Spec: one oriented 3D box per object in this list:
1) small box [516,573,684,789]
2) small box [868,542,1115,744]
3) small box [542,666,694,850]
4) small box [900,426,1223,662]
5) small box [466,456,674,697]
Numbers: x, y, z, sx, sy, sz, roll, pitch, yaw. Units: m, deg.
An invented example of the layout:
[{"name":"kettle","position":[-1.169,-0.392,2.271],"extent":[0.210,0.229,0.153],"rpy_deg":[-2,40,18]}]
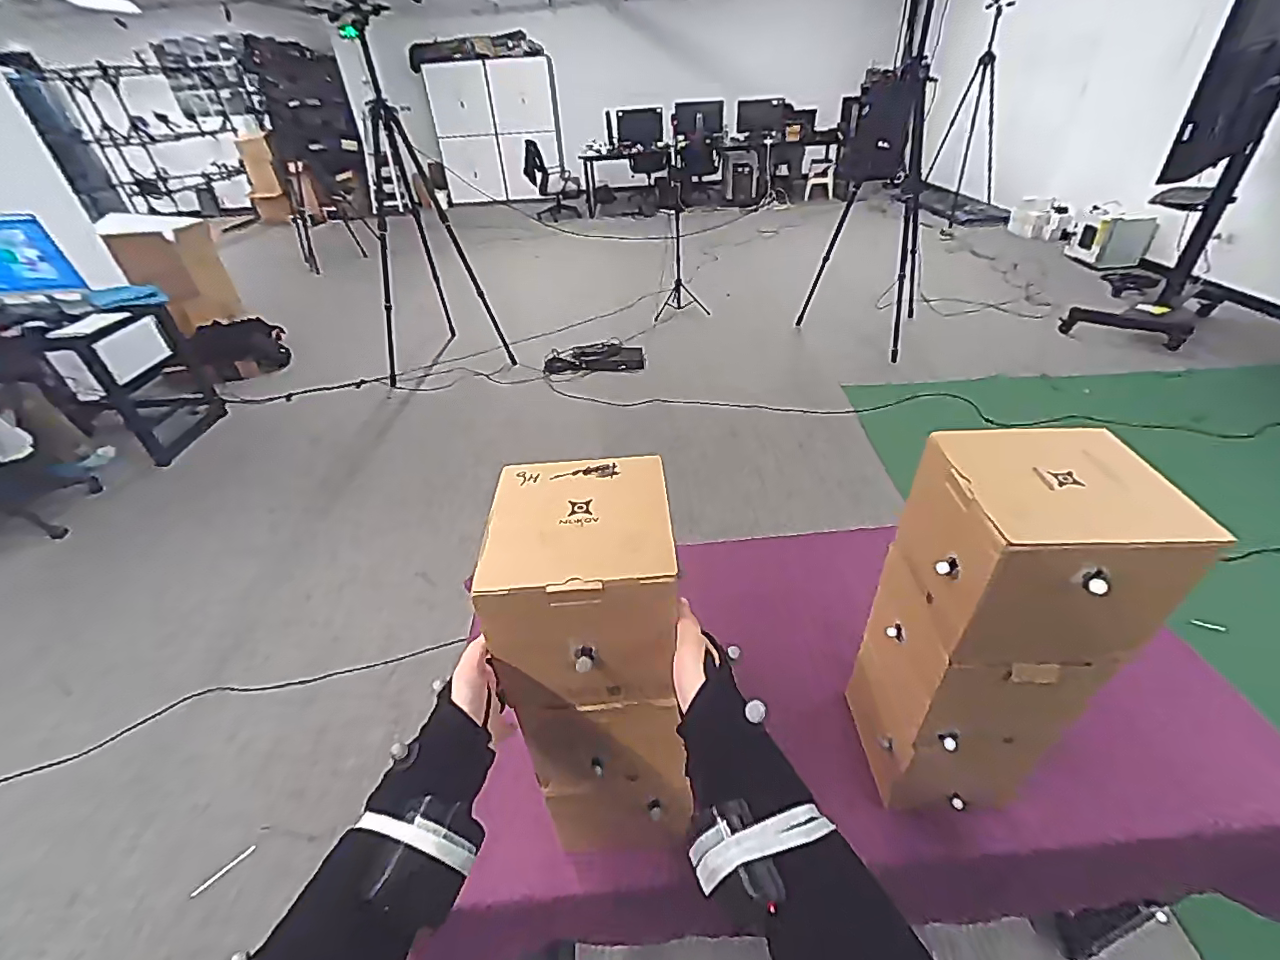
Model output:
[{"name":"small box","position":[-0.036,0.232,0.635],"extent":[0.168,0.176,0.179],"rpy_deg":[-4,37,2]},{"name":"small box","position":[0.387,0.190,0.637],"extent":[0.168,0.176,0.179],"rpy_deg":[-2,36,4]},{"name":"small box","position":[-0.022,0.369,0.723],"extent":[0.179,0.176,0.168],"rpy_deg":[-4,36,2]},{"name":"small box","position":[0.377,0.063,0.535],"extent":[0.179,0.176,0.168],"rpy_deg":[-1,38,5]},{"name":"small box","position":[-0.056,0.098,0.540],"extent":[0.168,0.176,0.179],"rpy_deg":[-4,37,0]}]
